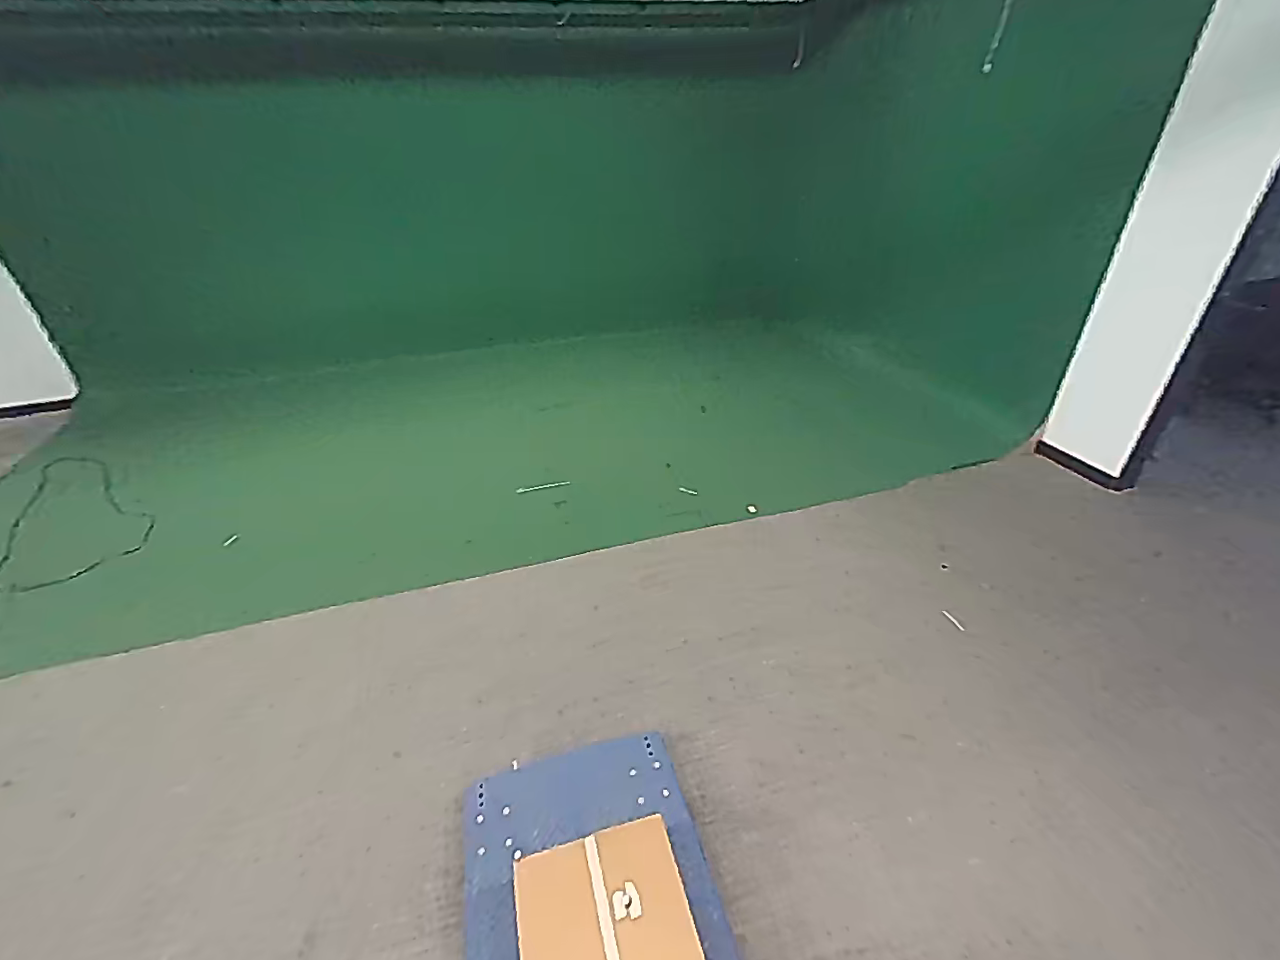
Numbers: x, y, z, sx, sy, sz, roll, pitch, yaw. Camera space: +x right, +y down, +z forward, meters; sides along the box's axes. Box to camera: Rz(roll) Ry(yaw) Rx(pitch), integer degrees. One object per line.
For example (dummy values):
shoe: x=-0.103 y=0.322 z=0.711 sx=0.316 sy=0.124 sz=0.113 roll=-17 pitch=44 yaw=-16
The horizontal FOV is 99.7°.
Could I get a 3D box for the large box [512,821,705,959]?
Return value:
large box: x=-0.042 y=0.969 z=1.021 sx=0.320 sy=0.320 sz=0.408 roll=-10 pitch=32 yaw=-13
